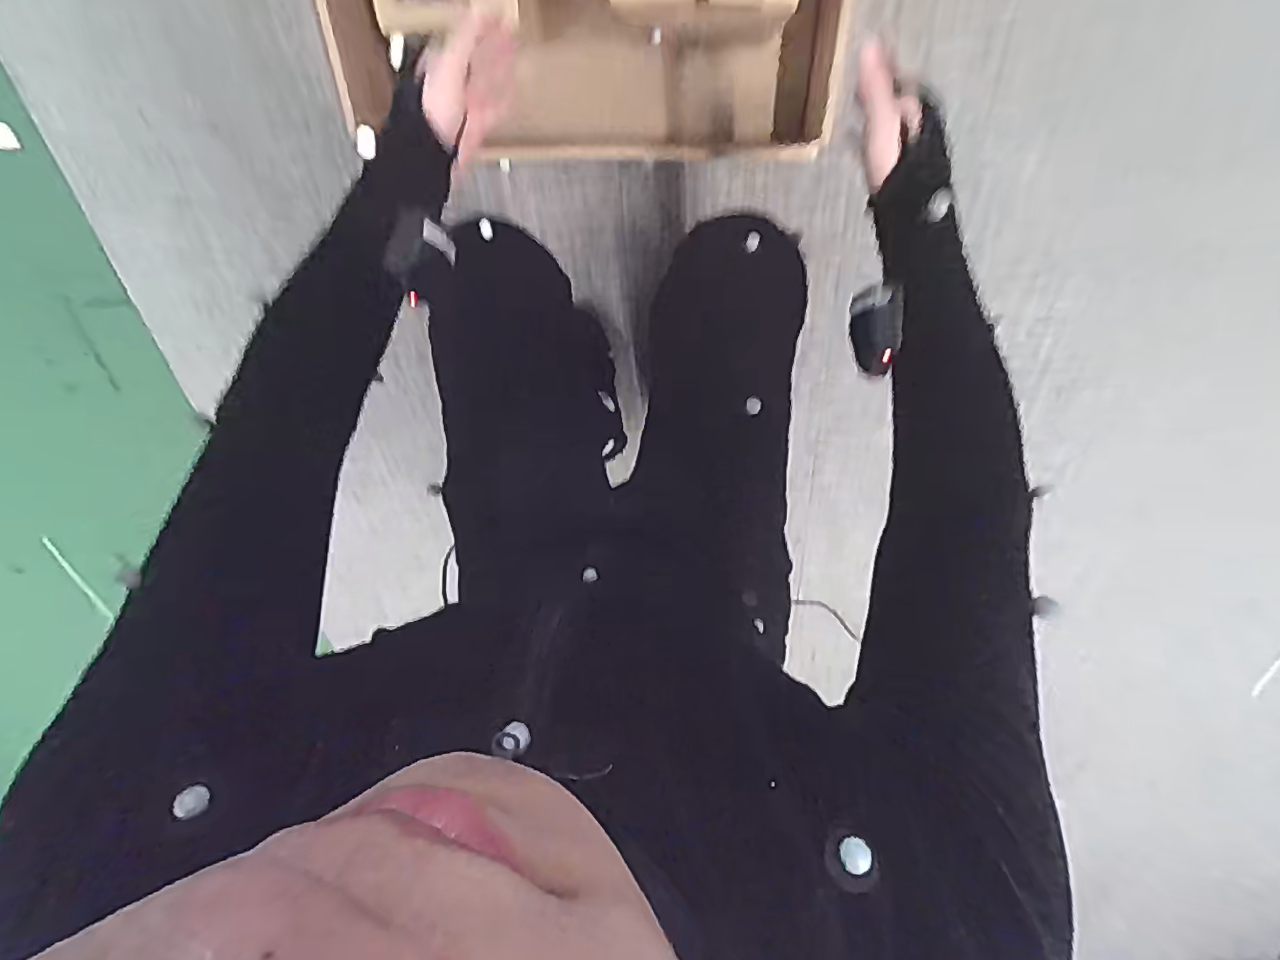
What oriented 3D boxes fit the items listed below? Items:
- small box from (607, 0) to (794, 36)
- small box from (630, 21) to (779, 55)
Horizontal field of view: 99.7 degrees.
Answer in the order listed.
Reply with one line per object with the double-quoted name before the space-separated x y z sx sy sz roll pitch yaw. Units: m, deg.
"small box" 0.063 -0.520 0.482 0.168 0.176 0.179 5 122 3
"small box" 0.077 -0.608 0.619 0.168 0.176 0.179 3 123 4
